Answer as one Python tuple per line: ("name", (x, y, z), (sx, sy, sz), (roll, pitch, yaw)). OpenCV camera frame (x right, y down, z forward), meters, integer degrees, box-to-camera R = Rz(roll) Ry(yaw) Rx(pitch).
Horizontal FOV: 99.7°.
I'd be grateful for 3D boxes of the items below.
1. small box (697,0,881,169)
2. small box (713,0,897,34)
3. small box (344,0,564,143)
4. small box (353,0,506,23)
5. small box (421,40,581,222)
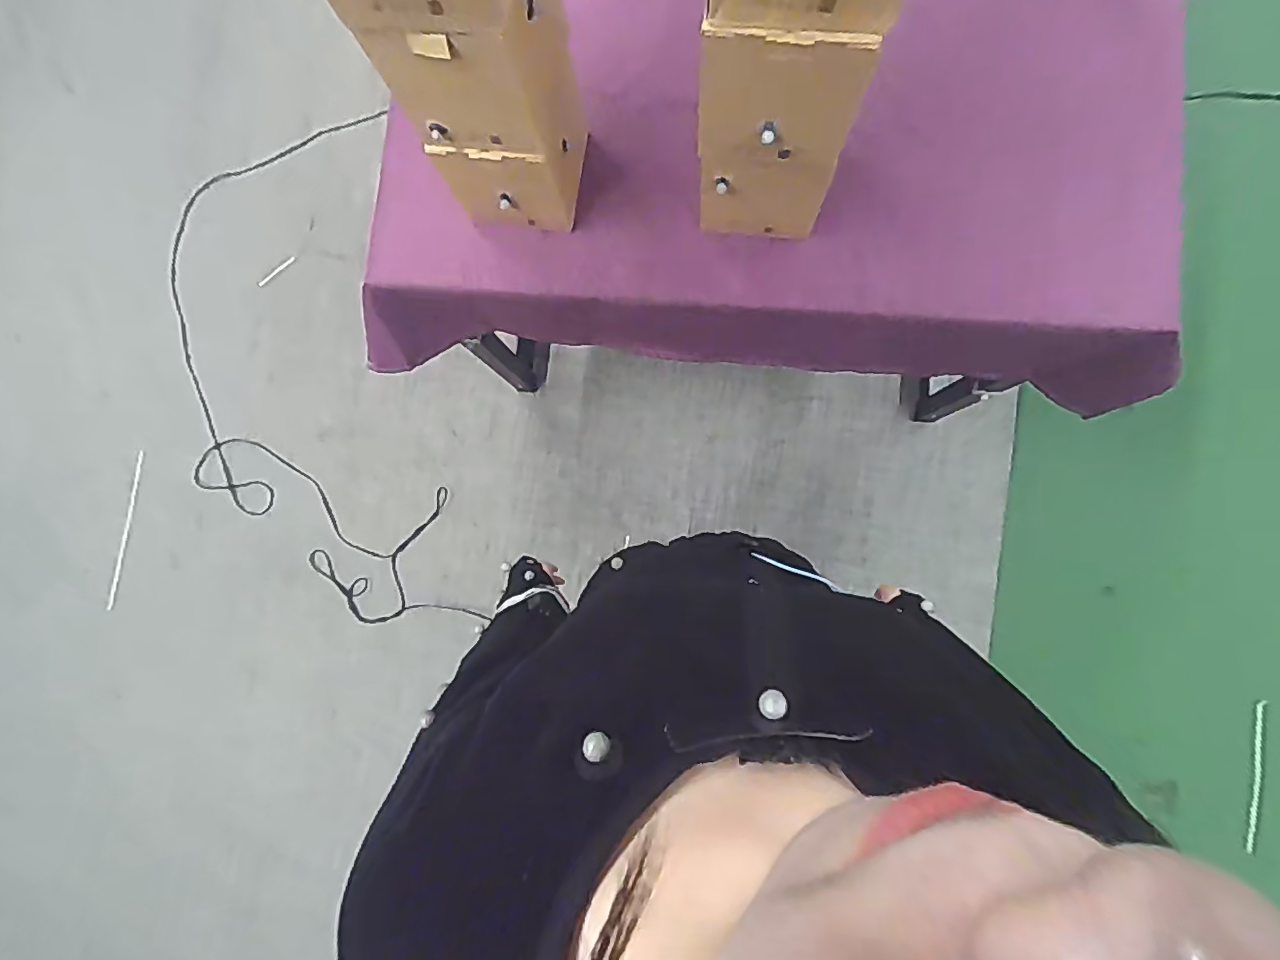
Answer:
("small box", (0.156, -0.479, 0.581), (0.168, 0.176, 0.179), (10, 86, 5))
("small box", (0.149, -0.505, 0.420), (0.168, 0.176, 0.179), (8, 86, 4))
("small box", (-0.191, -0.518, 0.607), (0.168, 0.176, 0.179), (9, 85, 4))
("small box", (-0.201, -0.529, 0.445), (0.168, 0.176, 0.179), (7, 85, 3))
("small box", (-0.185, -0.497, 0.771), (0.168, 0.176, 0.179), (8, 86, 3))
